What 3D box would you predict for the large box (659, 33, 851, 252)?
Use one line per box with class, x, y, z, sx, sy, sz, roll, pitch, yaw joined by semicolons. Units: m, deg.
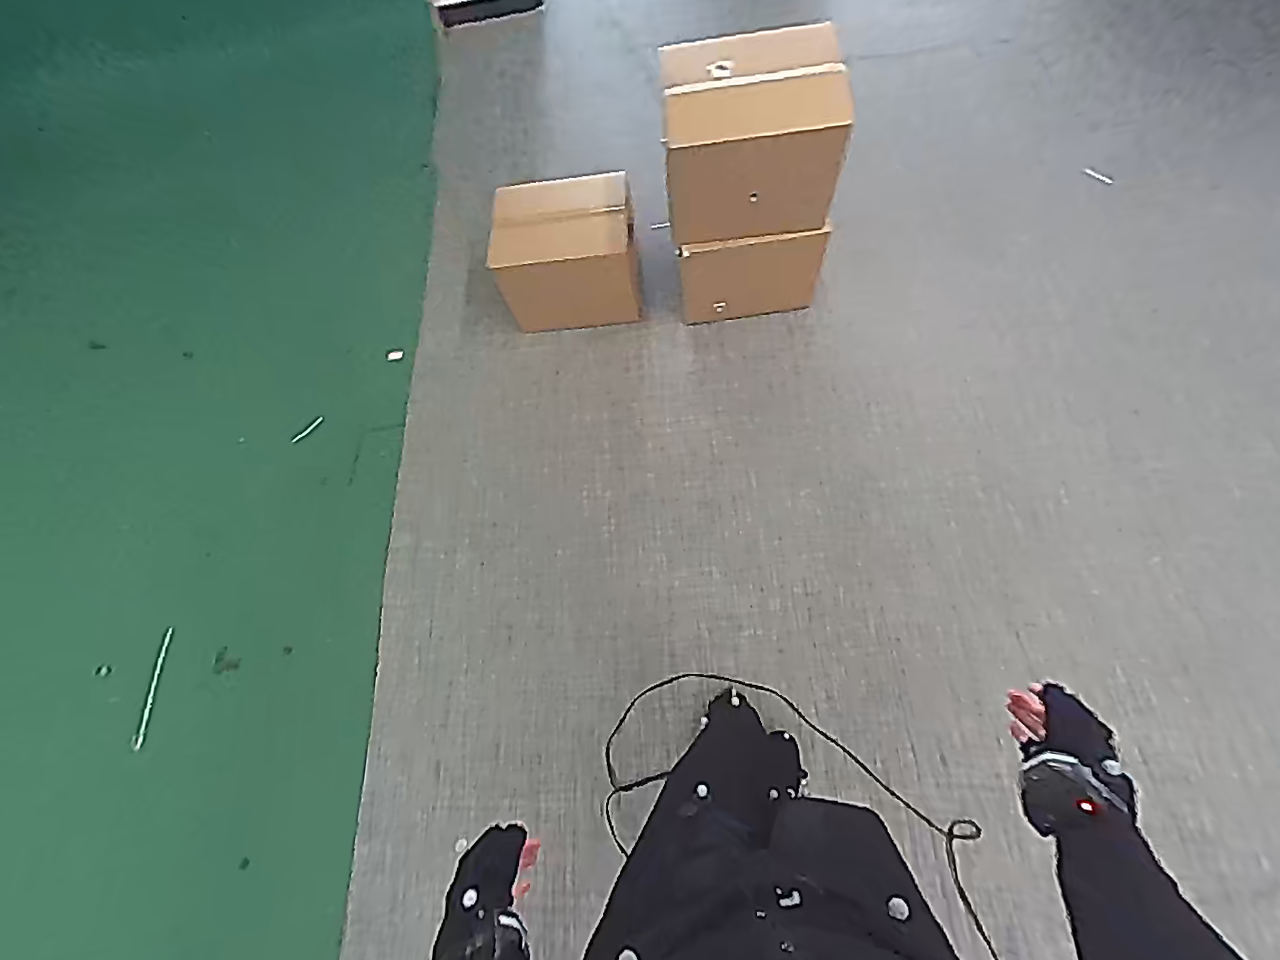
large box;0.272;-0.827;1.366;0.408;0.320;0.320;-5;72;7
